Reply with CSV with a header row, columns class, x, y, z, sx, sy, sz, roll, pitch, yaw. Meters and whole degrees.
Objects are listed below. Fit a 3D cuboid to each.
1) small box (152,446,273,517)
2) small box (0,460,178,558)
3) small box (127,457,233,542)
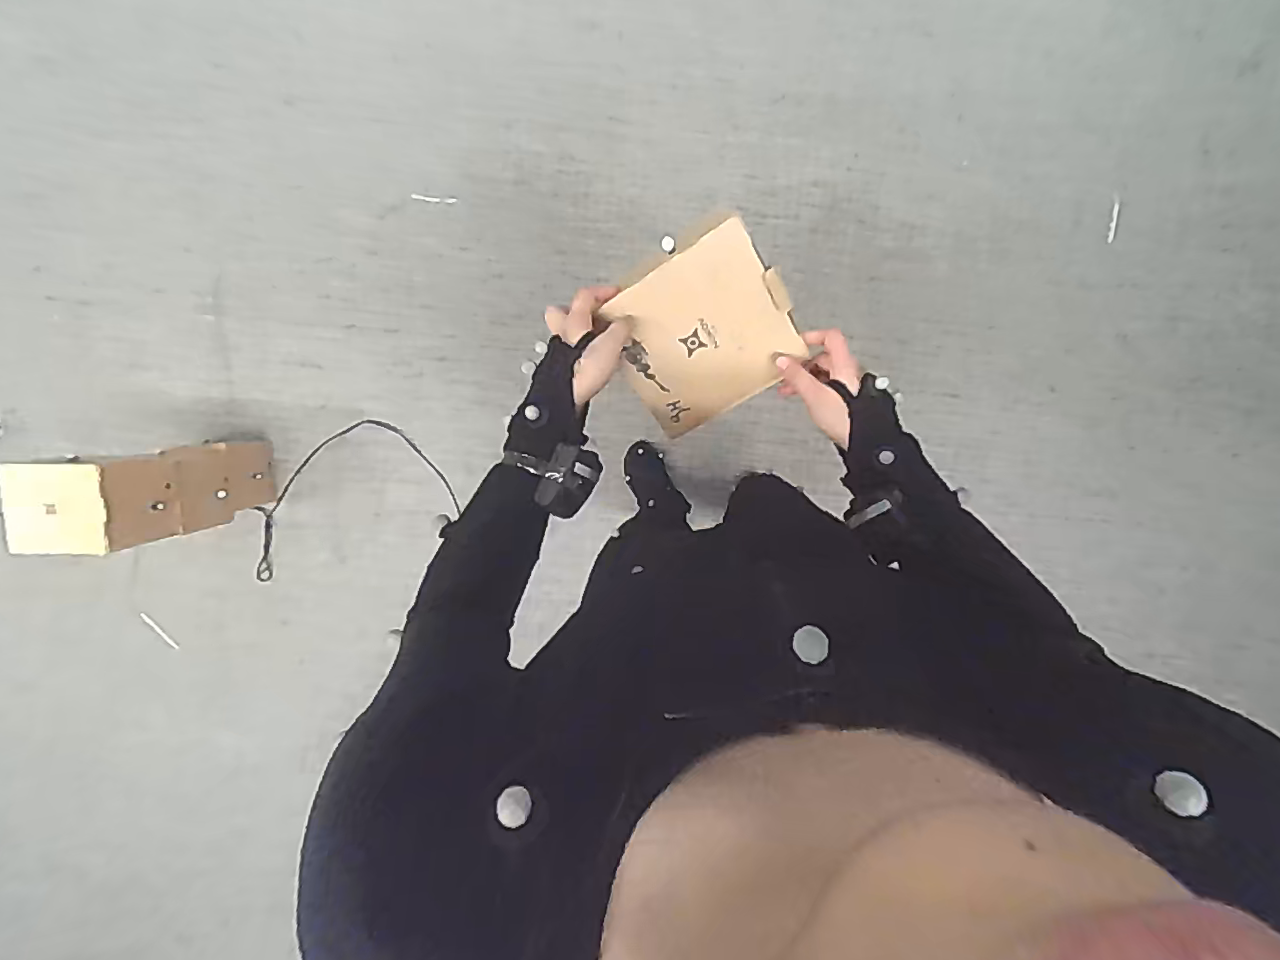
class,x,y,z,sx,sy,sz,roll,pitch,yaw
small box,-1.059,0.001,1.360,0.179,0.176,0.168,-3,96,0
small box,-1.045,0.050,1.037,0.179,0.176,0.168,0,97,-2
small box,-1.053,0.038,1.200,0.179,0.176,0.168,1,97,-2
